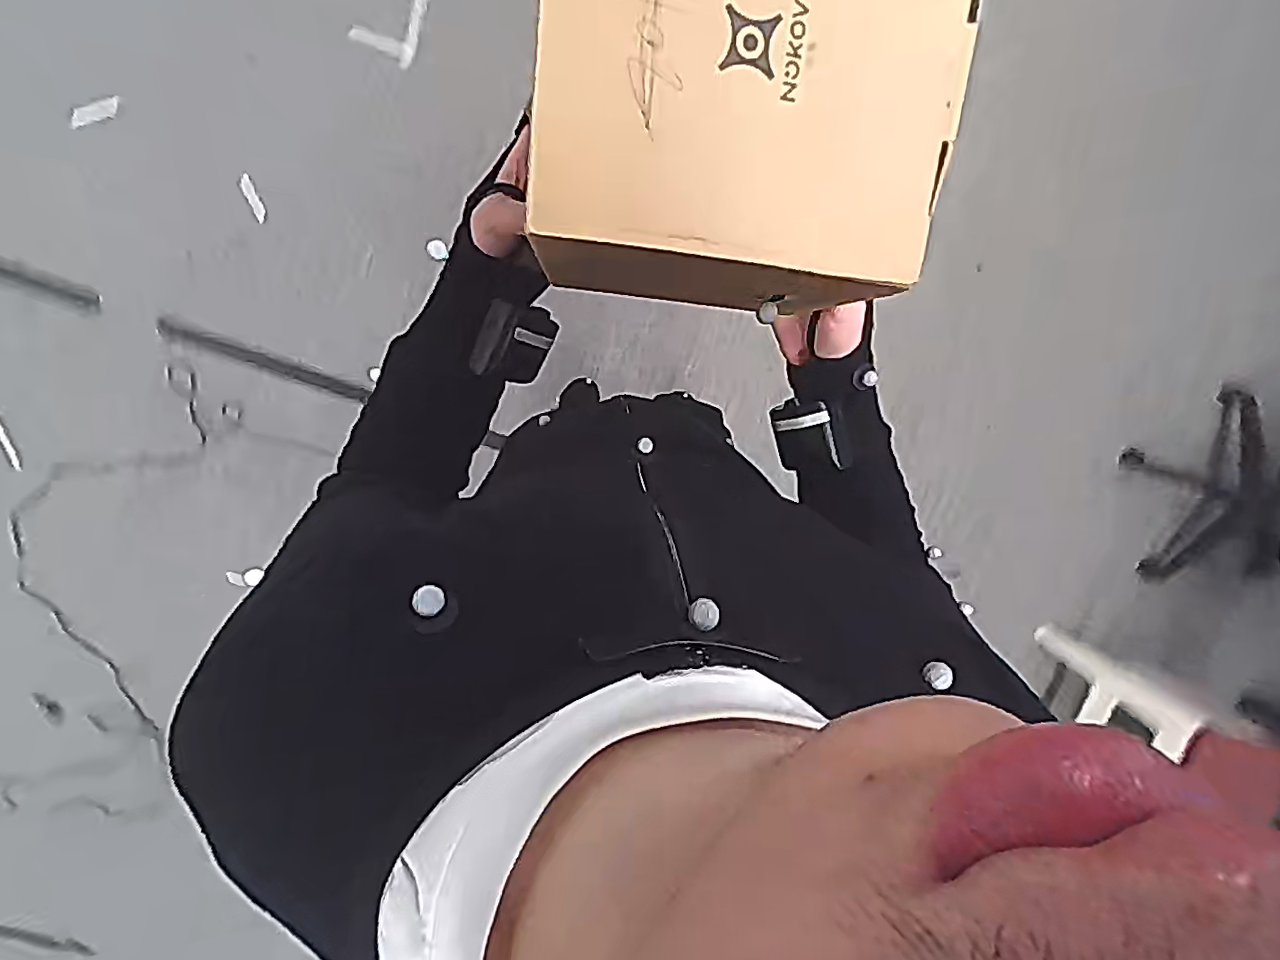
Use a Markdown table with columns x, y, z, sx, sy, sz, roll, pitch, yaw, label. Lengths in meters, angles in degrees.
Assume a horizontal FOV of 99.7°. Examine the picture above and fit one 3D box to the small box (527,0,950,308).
| x | y | z | sx | sy | sz | roll | pitch | yaw | label |
| --- | --- | --- | --- | --- | --- | --- | --- | --- | --- |
| 0.036 | -0.193 | 0.304 | 0.179 | 0.176 | 0.168 | 3 | 102 | -6 | small box |
